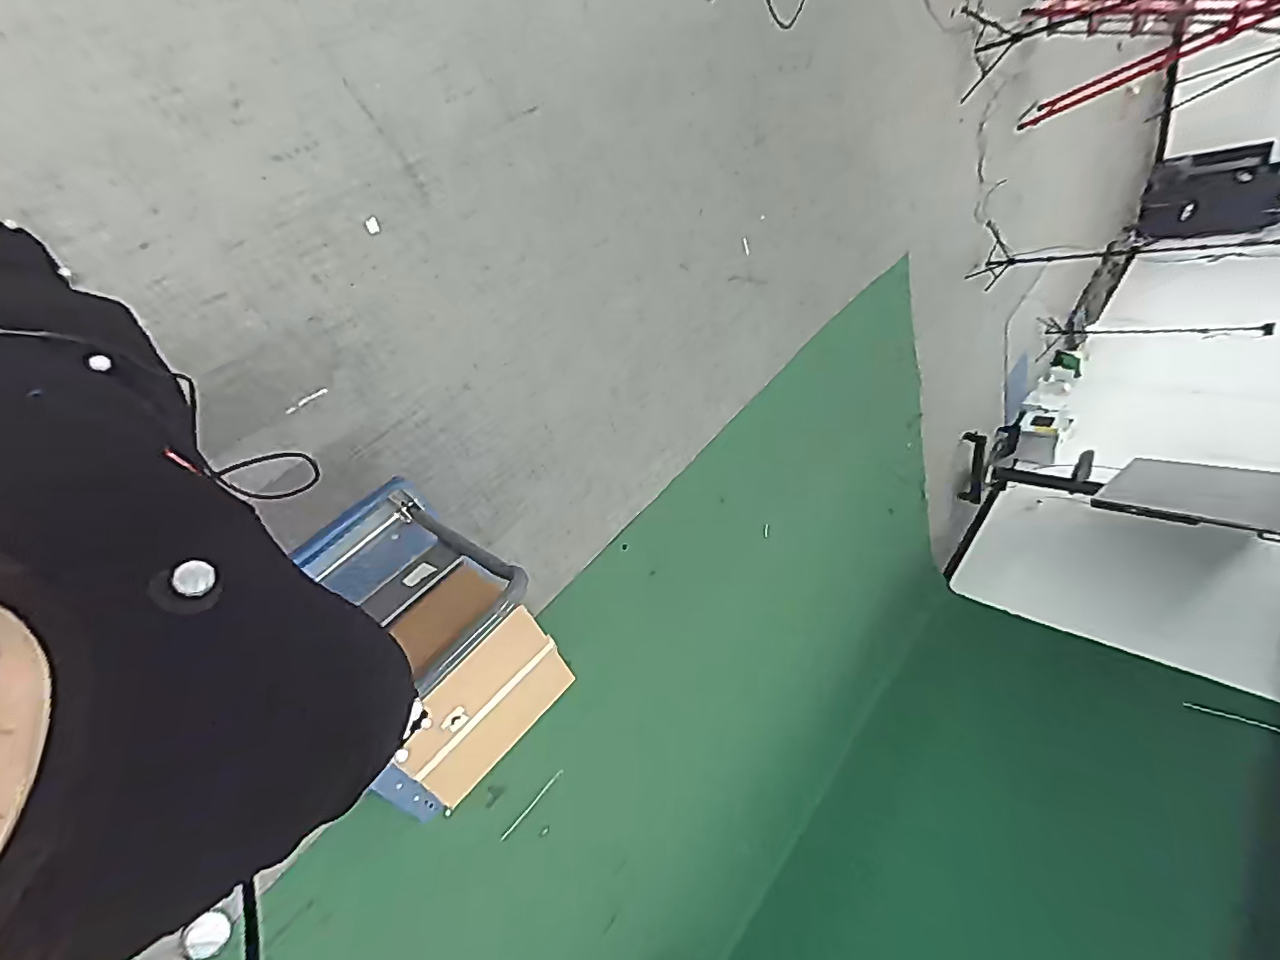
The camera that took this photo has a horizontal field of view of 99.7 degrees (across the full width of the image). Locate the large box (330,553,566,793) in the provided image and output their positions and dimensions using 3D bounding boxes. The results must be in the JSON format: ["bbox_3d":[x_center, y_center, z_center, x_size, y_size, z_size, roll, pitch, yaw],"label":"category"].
[{"bbox_3d":[-0.472,0.460,1.363,0.408,0.320,0.320,-42,126,-26],"label":"large box"}]
